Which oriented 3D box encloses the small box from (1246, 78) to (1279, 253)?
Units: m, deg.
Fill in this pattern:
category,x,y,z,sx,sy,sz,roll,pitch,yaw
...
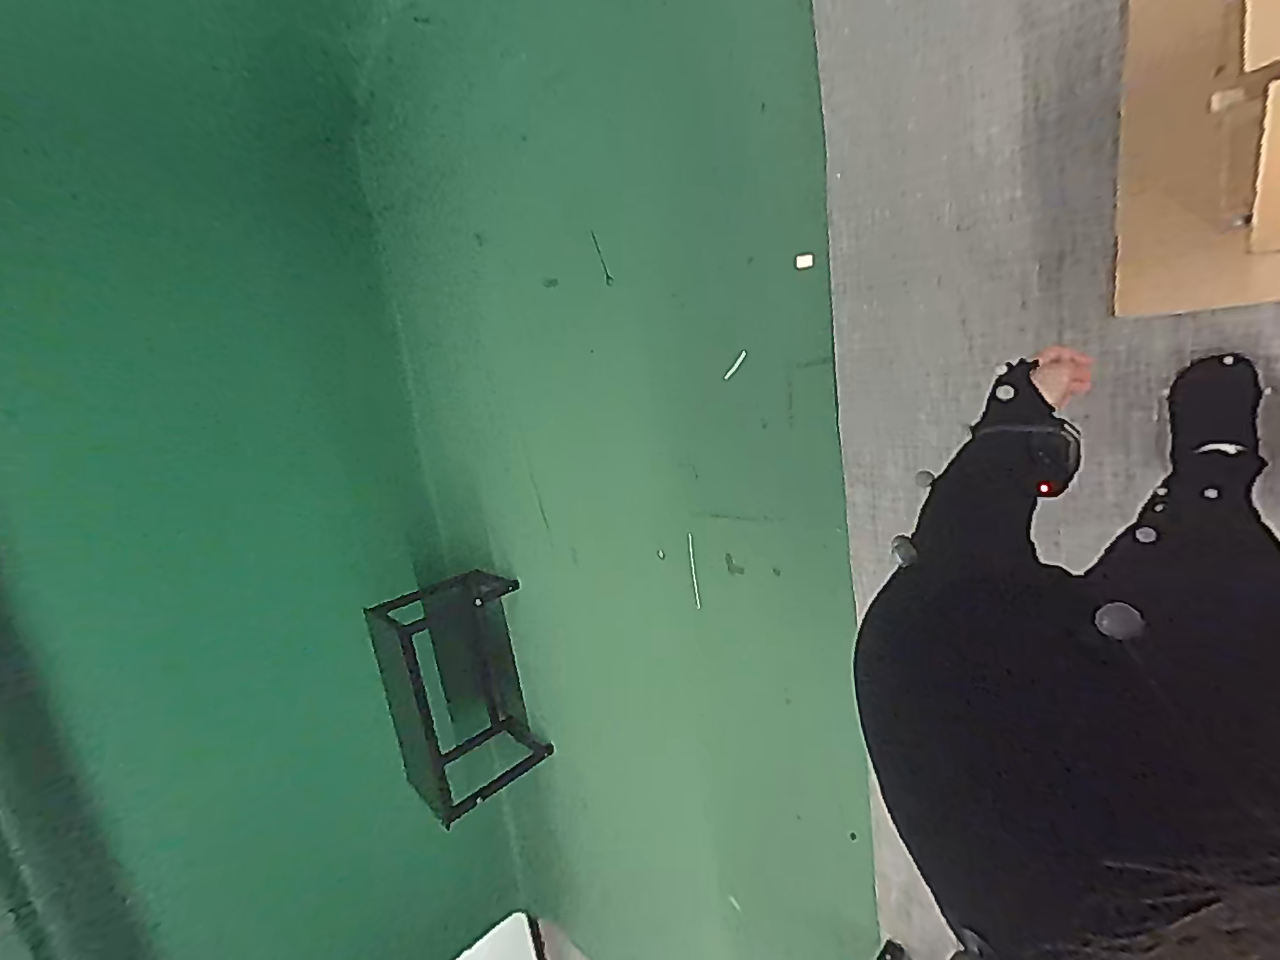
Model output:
category,x,y,z,sx,sy,sz,roll,pitch,yaw
small box,0.792,-0.355,0.588,0.168,0.176,0.179,6,110,47
